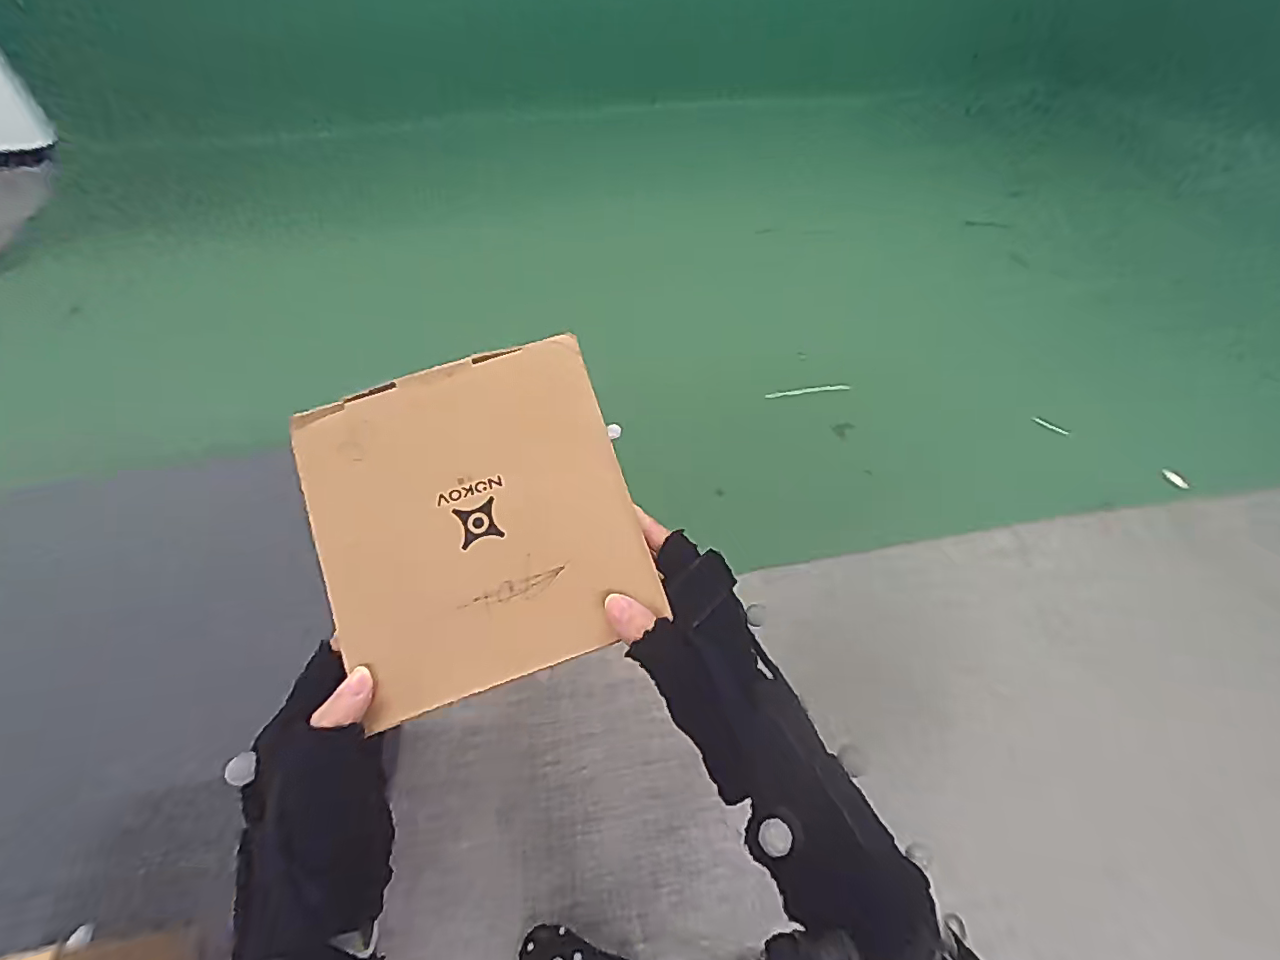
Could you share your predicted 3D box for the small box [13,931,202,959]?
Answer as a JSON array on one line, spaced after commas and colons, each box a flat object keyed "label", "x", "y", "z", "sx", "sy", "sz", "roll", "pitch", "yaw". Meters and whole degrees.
[{"label": "small box", "x": -0.495, "y": 0.484, "z": 0.421, "sx": 0.168, "sy": 0.176, "sz": 0.179, "roll": -8, "pitch": 54, "yaw": -6}]
